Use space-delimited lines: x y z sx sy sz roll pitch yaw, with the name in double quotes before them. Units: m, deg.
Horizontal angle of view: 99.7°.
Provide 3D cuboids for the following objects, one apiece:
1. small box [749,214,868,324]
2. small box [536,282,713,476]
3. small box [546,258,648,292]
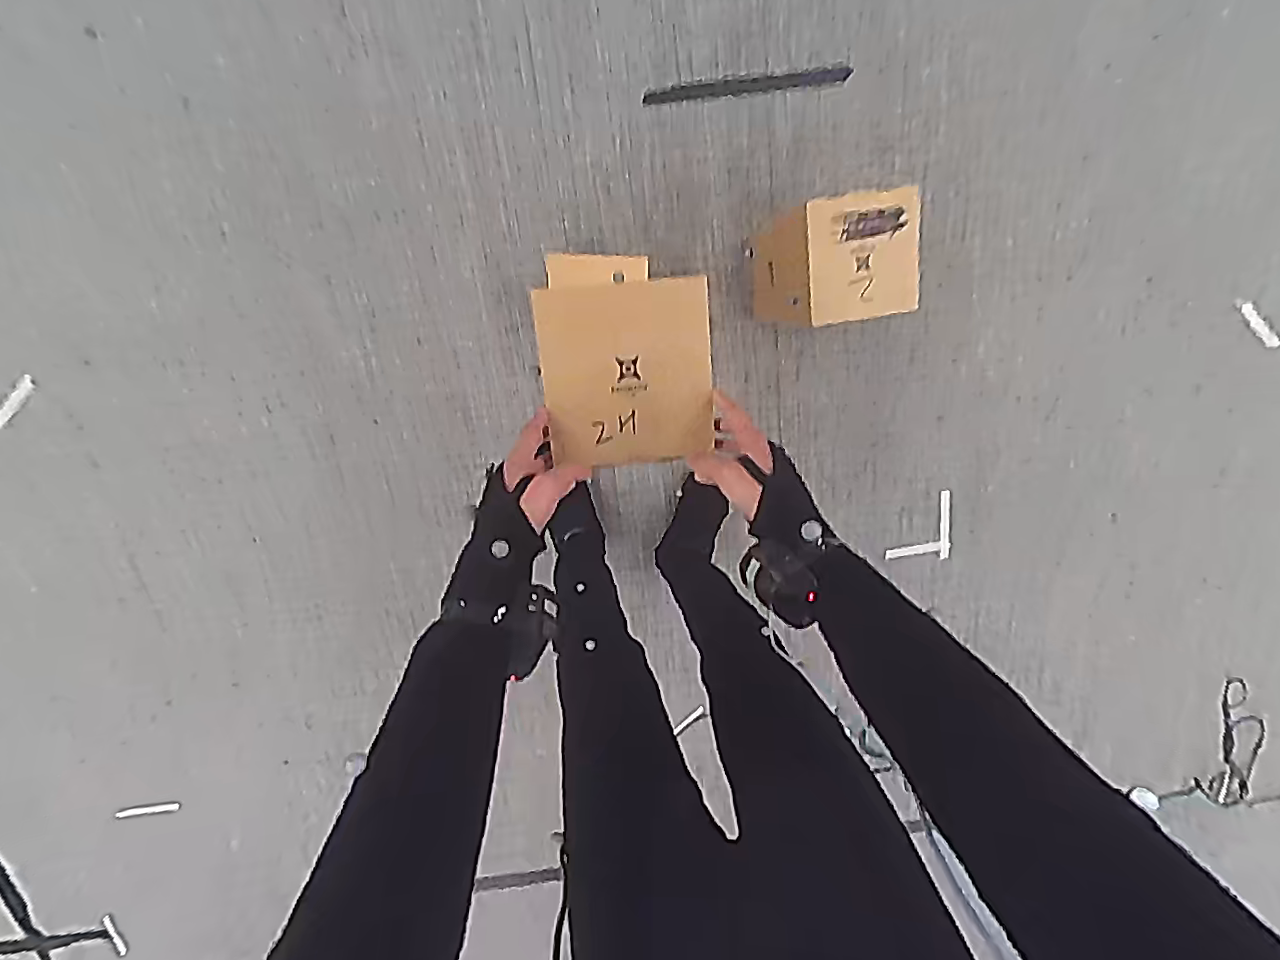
"small box" 0.310 -0.390 1.024 0.179 0.176 0.168 -9 107 -2
"small box" -0.020 -0.116 0.597 0.168 0.176 0.179 -6 107 -4
"small box" -0.081 -0.320 1.019 0.179 0.176 0.168 1 107 -3
